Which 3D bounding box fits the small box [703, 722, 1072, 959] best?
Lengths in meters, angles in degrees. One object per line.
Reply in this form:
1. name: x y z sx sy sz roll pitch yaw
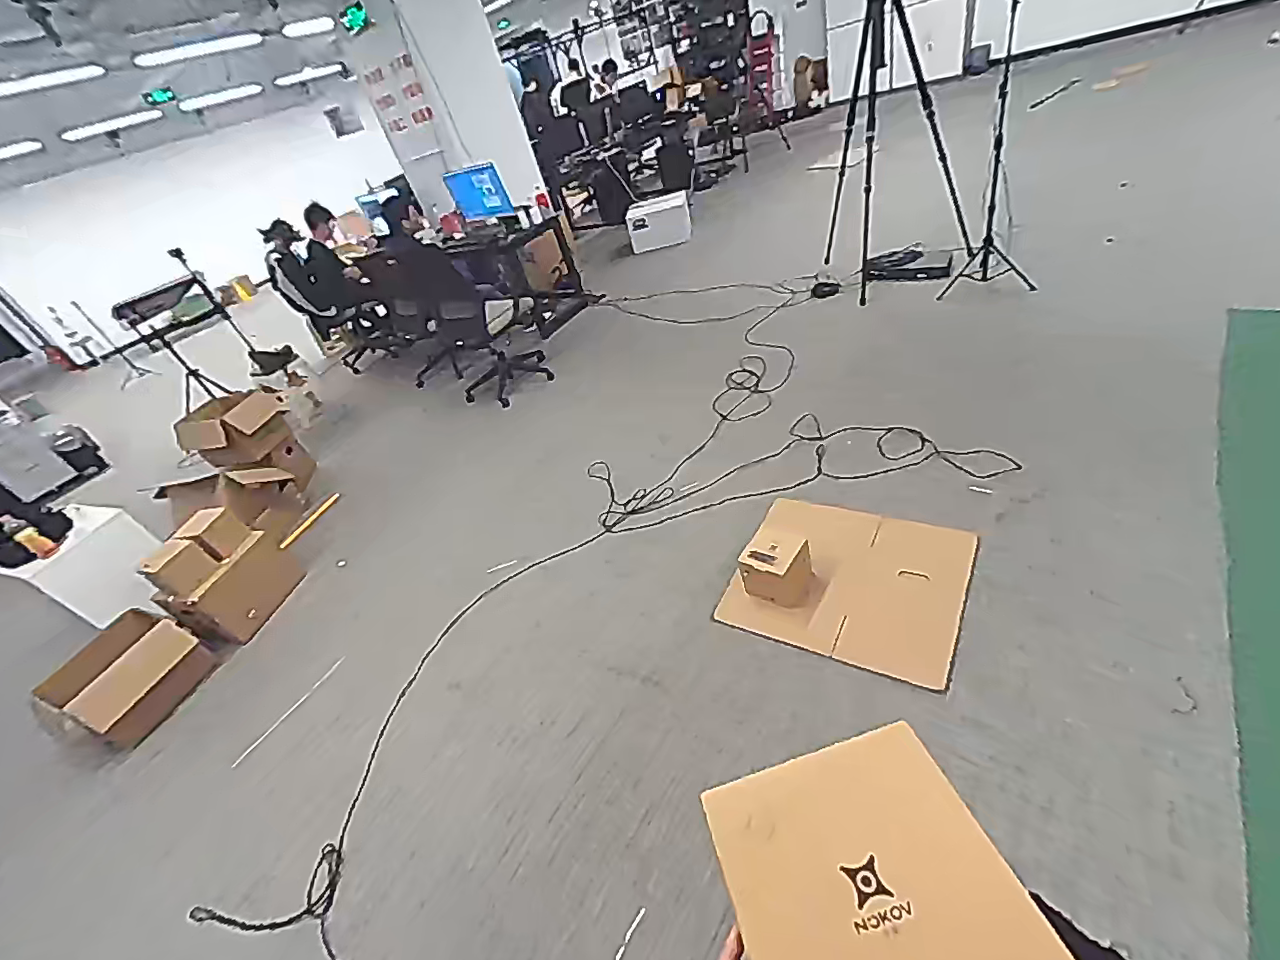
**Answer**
1. small box: 0.154 0.312 0.373 0.168 0.176 0.179 -18 35 -4
